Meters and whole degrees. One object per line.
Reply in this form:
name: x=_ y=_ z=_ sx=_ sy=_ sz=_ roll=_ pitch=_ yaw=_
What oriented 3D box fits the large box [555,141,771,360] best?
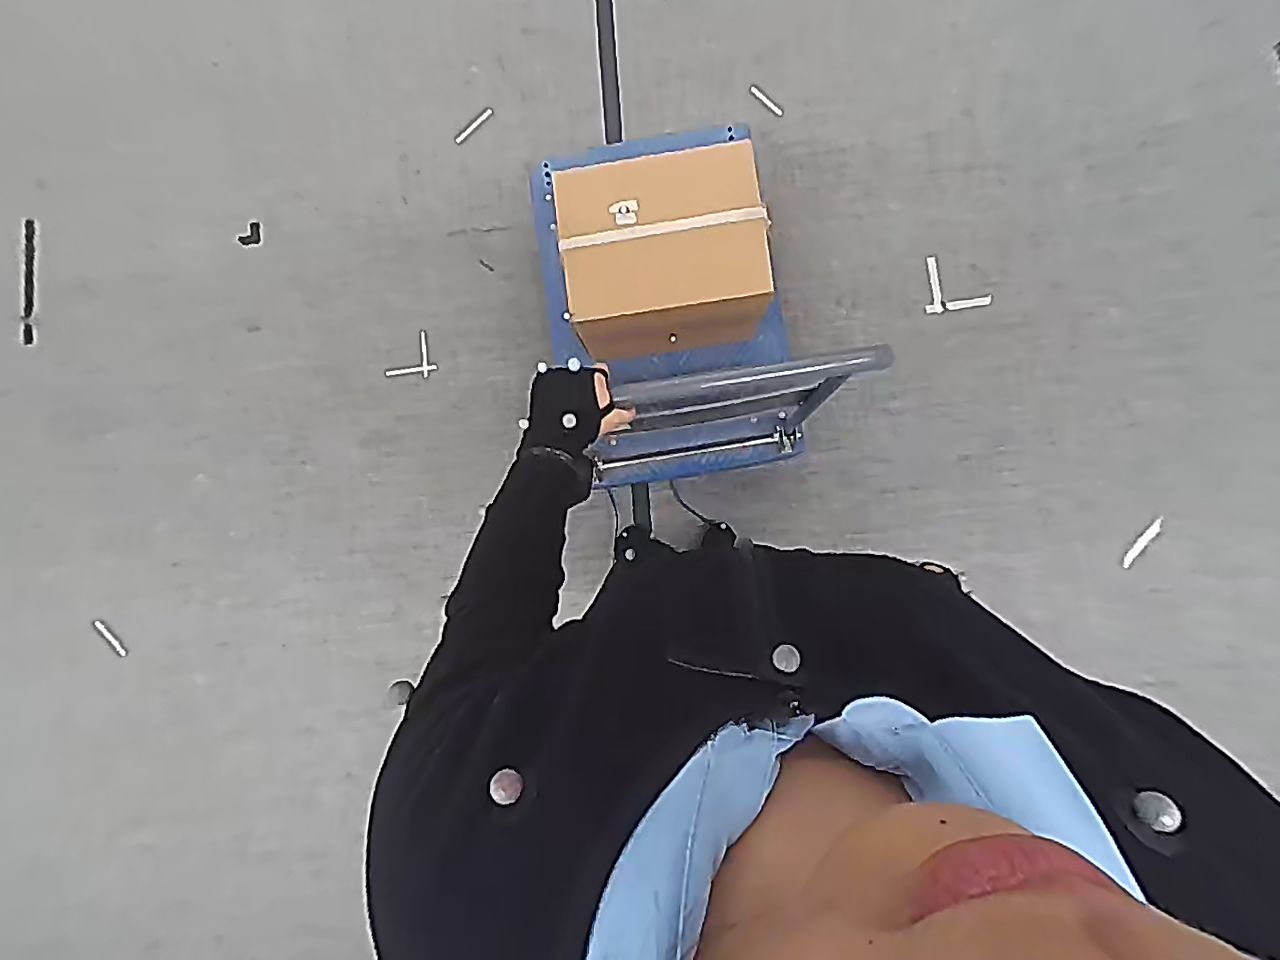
large box: x=0.055 y=-0.488 z=1.227 sx=0.408 sy=0.320 sz=0.320 roll=-8 pitch=85 yaw=4
